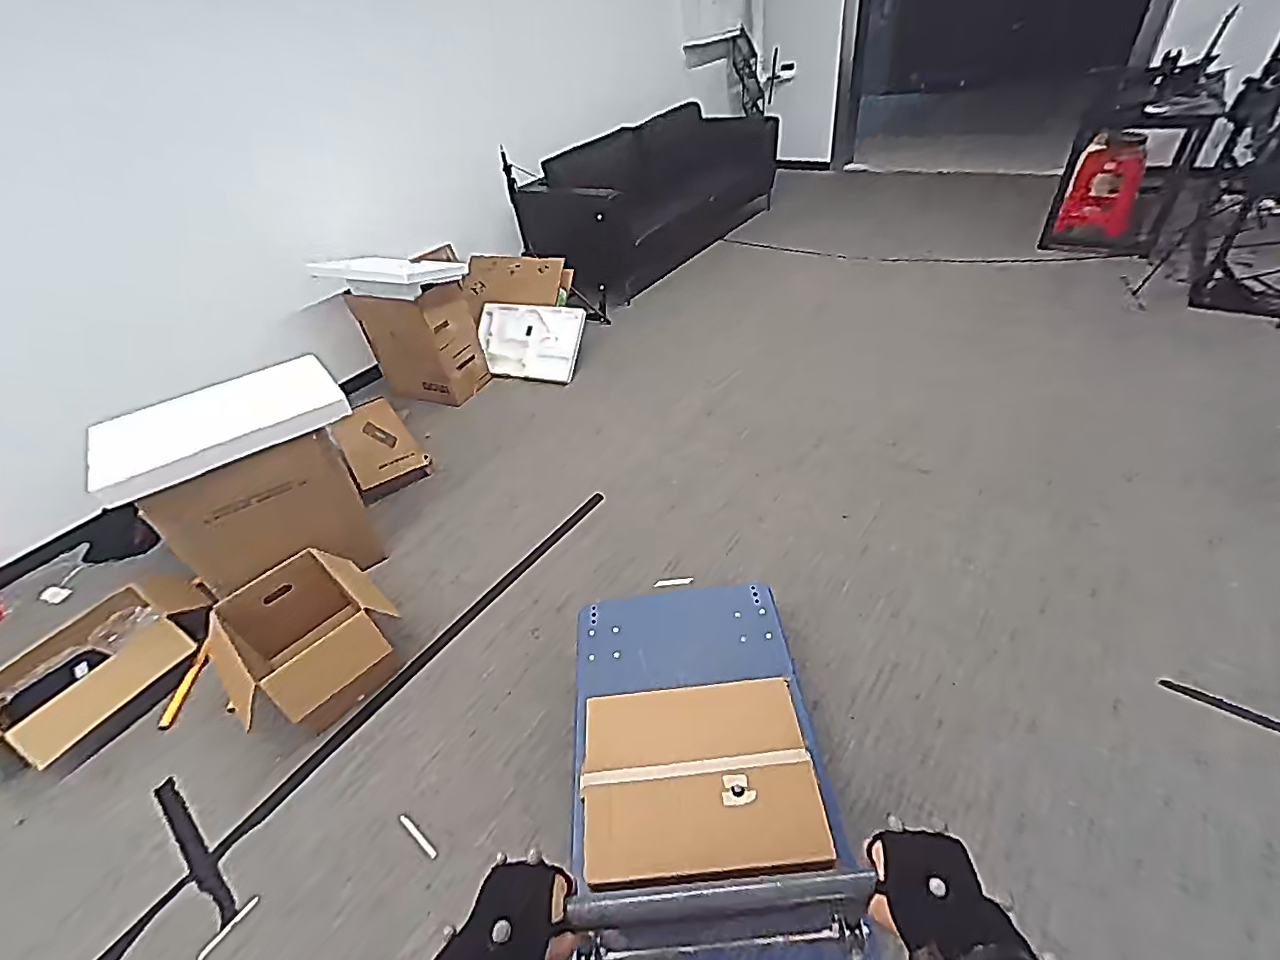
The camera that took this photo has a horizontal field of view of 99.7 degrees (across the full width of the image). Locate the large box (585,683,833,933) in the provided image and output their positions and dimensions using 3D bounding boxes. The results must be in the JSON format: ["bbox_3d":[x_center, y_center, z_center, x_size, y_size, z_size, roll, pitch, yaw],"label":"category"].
[{"bbox_3d":[0.112,0.640,1.058,0.408,0.320,0.320,-7,41,1],"label":"large box"}]
